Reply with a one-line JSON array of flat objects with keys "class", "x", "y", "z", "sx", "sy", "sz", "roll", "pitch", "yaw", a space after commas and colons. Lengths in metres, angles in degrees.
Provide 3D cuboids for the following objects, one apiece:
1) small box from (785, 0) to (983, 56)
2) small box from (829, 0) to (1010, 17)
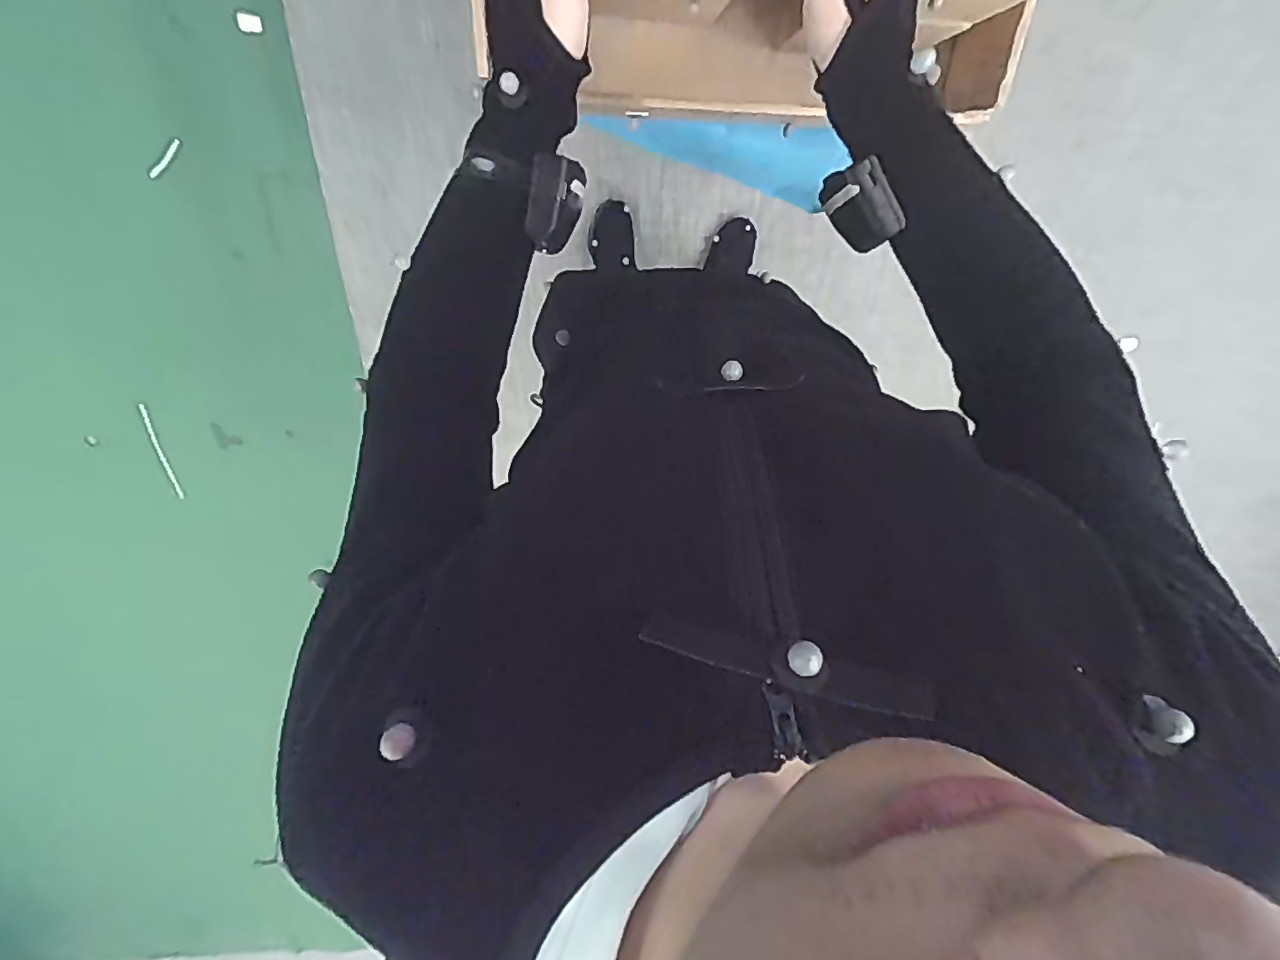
[{"class": "small box", "x": 0.274, "y": -0.593, "z": 0.598, "sx": 0.179, "sy": 0.176, "sz": 0.168, "roll": 2, "pitch": 118, "yaw": -3}, {"class": "small box", "x": 0.282, "y": -0.518, "z": 0.453, "sx": 0.179, "sy": 0.176, "sz": 0.168, "roll": 1, "pitch": 117, "yaw": -2}]
